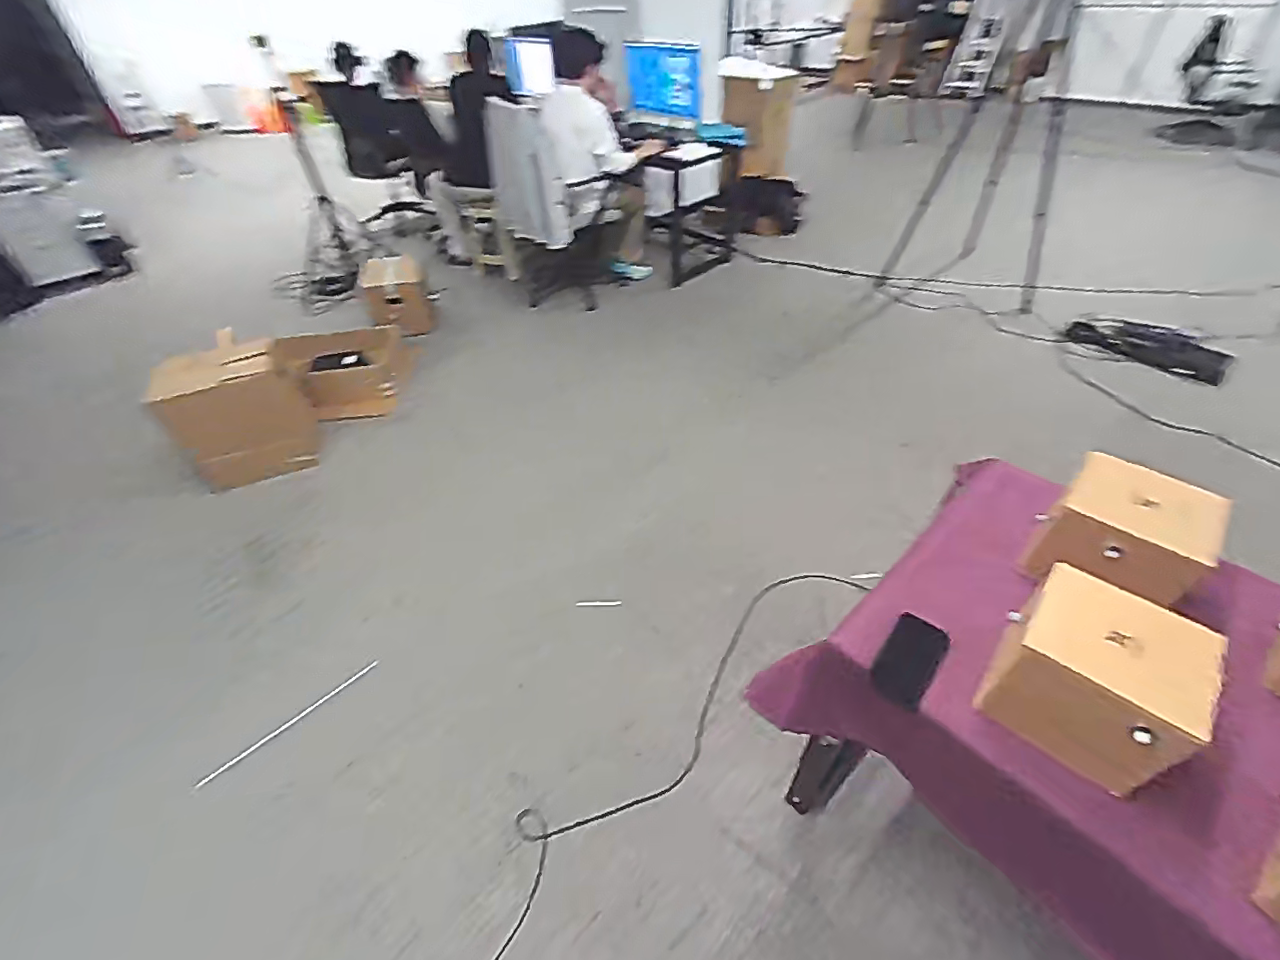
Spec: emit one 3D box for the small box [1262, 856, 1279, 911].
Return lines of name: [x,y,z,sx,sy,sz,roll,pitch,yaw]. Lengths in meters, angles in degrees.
small box: [0.780,0.408,0.516,0.168,0.176,0.179,-28,49,-24]

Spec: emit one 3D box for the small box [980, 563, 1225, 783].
small box: [0.582,0.249,0.700,0.179,0.176,0.168,31,53,30]
